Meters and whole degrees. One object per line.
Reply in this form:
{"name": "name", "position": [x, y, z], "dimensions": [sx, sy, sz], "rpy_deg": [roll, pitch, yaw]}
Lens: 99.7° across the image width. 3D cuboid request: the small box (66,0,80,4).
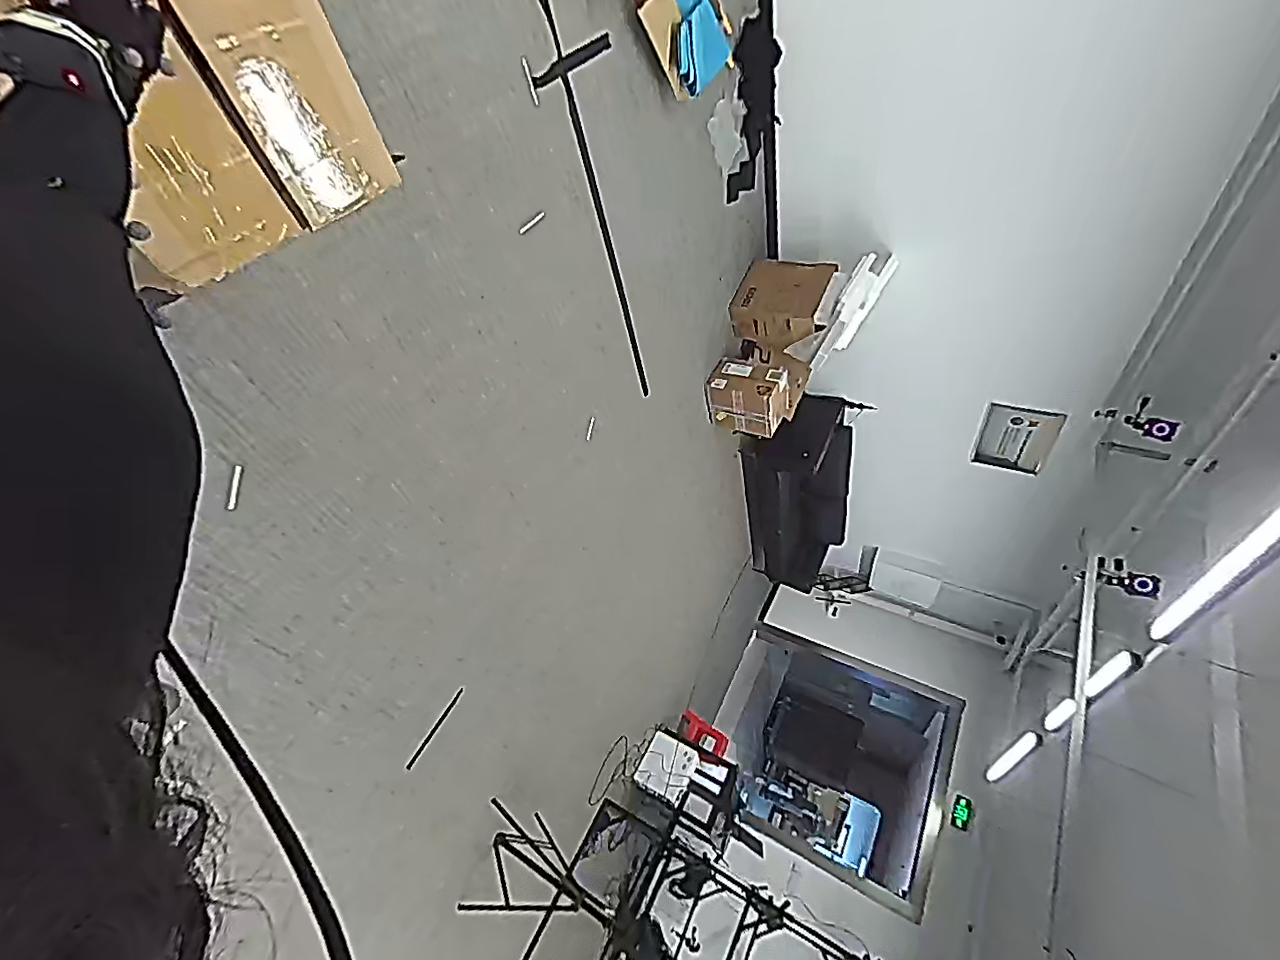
{"name": "small box", "position": [-0.533, -0.585, 0.504], "dimensions": [0.168, 0.176, 0.179], "rpy_deg": [-51, 149, -23]}
